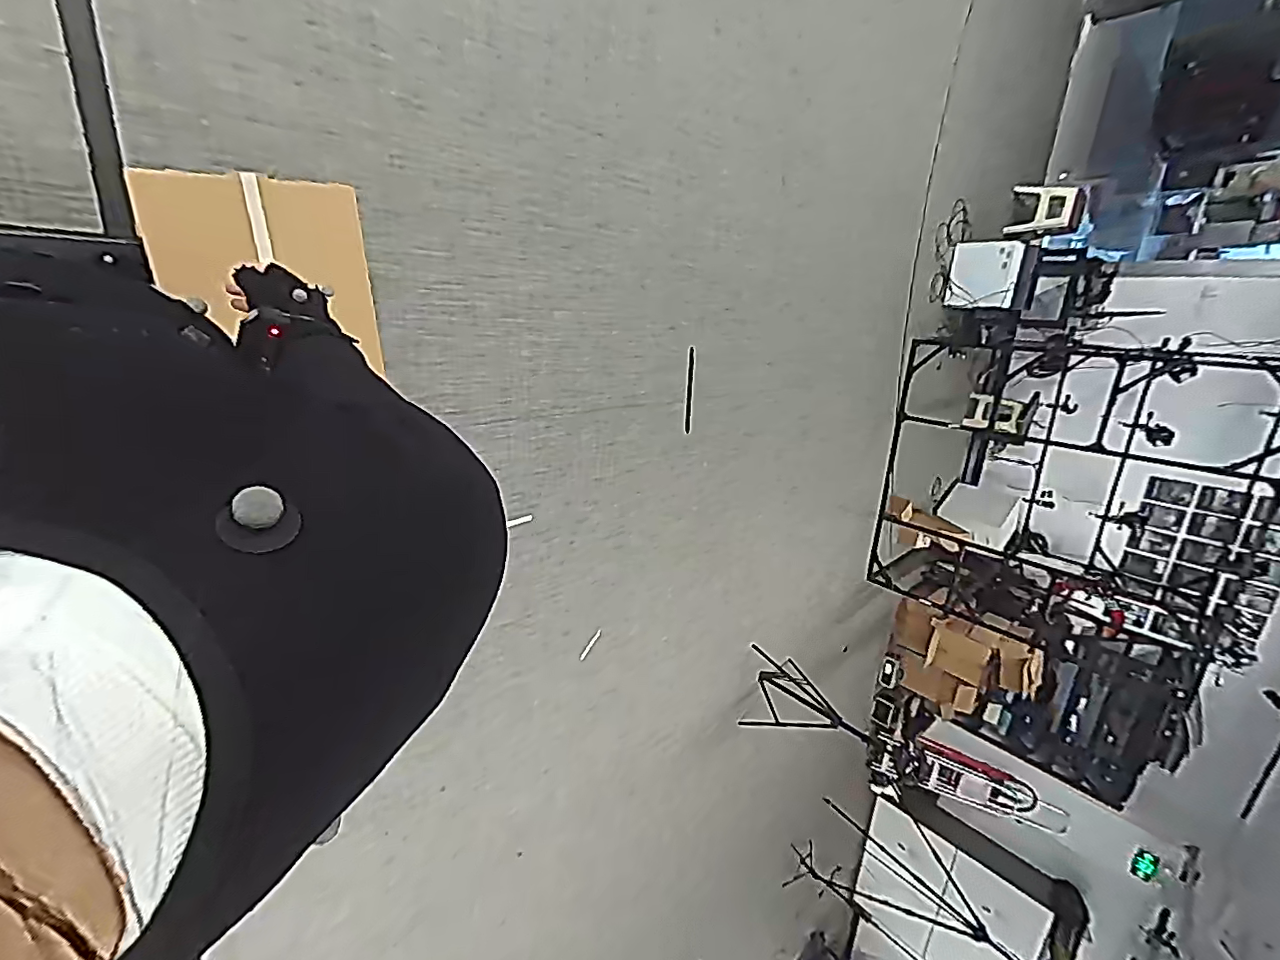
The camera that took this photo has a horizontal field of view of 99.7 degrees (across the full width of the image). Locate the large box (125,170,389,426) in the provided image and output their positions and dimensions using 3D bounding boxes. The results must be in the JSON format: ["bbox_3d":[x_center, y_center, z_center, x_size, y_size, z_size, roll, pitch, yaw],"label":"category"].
[{"bbox_3d":[-0.726,-0.354,1.060,0.320,0.320,0.408,-15,116,-34],"label":"large box"}]
